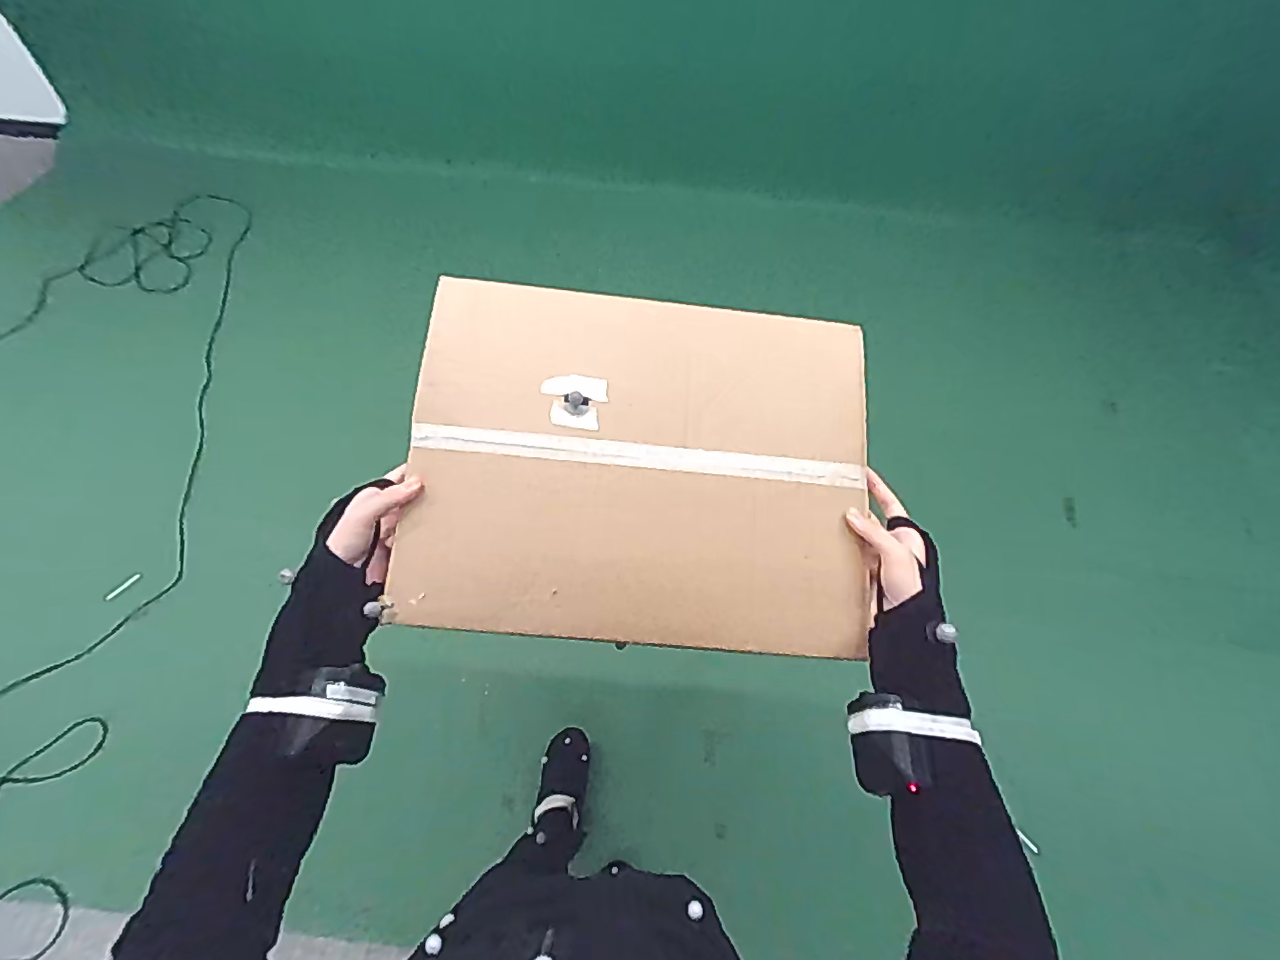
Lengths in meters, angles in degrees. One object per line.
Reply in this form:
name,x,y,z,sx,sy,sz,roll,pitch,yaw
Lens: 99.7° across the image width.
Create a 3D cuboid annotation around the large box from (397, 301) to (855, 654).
large box,-0.007,0.021,0.641,0.408,0.320,0.320,5,76,-3
